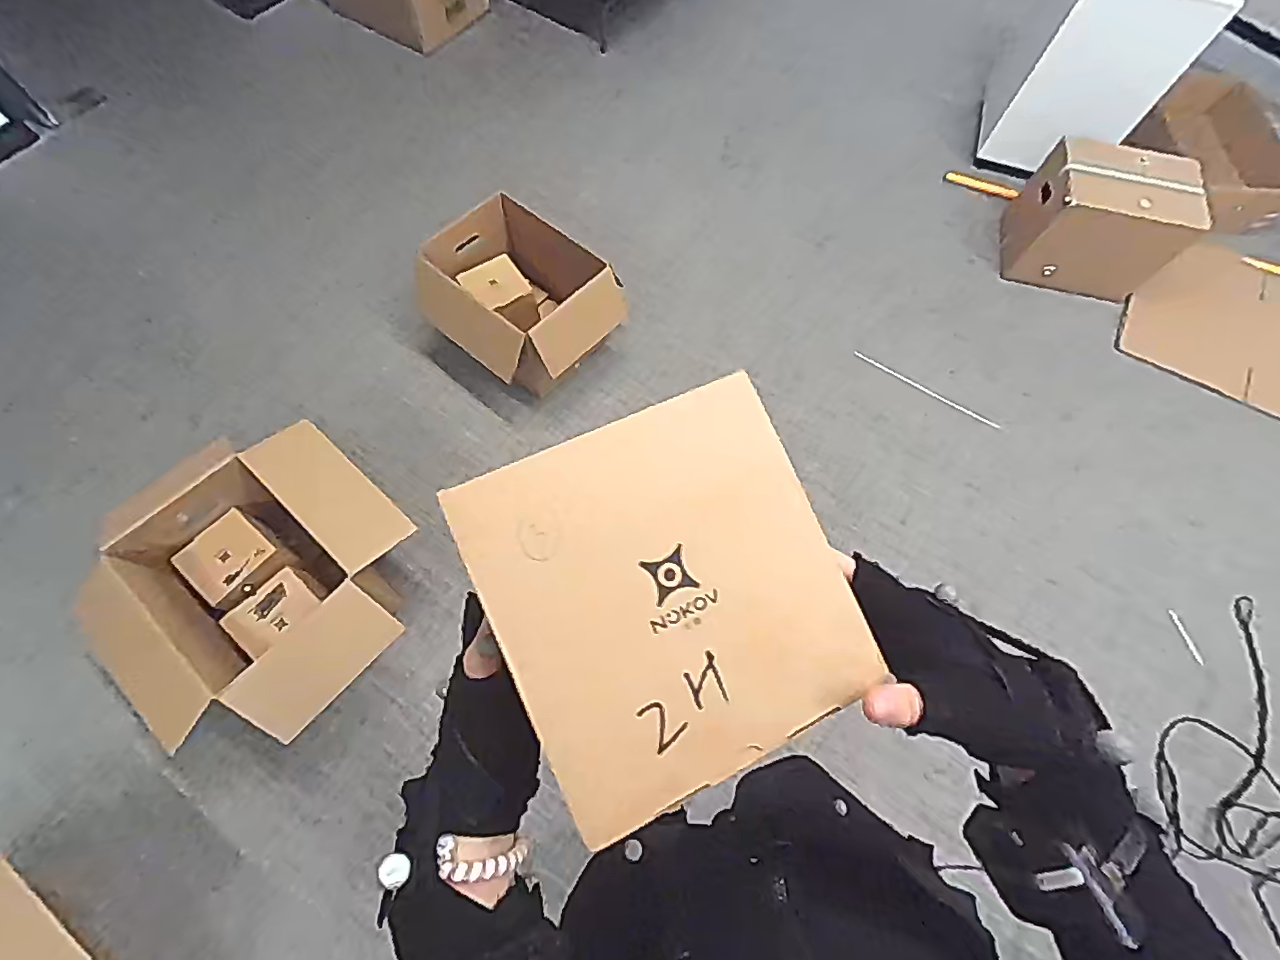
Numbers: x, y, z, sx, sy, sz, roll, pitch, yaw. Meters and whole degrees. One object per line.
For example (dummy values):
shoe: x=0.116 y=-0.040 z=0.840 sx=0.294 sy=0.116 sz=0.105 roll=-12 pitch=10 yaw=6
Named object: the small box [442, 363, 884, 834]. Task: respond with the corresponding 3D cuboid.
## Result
small box: x=0.001 y=0.059 z=0.334 sx=0.168 sy=0.176 sz=0.179 roll=-23 pitch=85 yaw=-11
